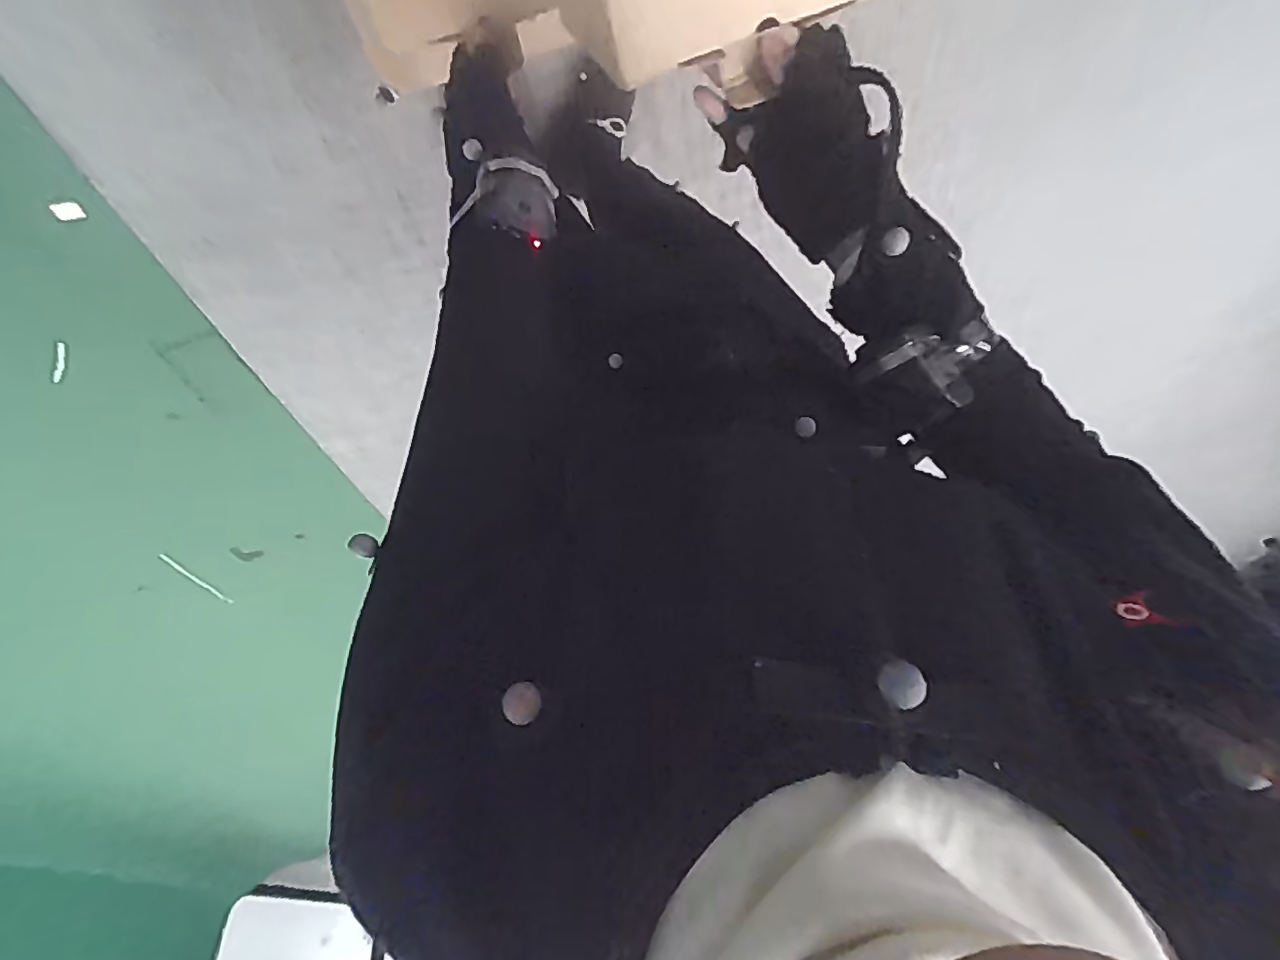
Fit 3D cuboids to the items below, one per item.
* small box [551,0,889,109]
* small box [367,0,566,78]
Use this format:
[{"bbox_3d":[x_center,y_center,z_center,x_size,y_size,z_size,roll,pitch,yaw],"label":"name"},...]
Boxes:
[{"bbox_3d":[0.023,-0.344,0.287,0.168,0.176,0.179,-21,140,-1],"label":"small box"},{"bbox_3d":[-0.152,-0.473,0.443,0.168,0.176,0.179,-15,138,2],"label":"small box"}]
